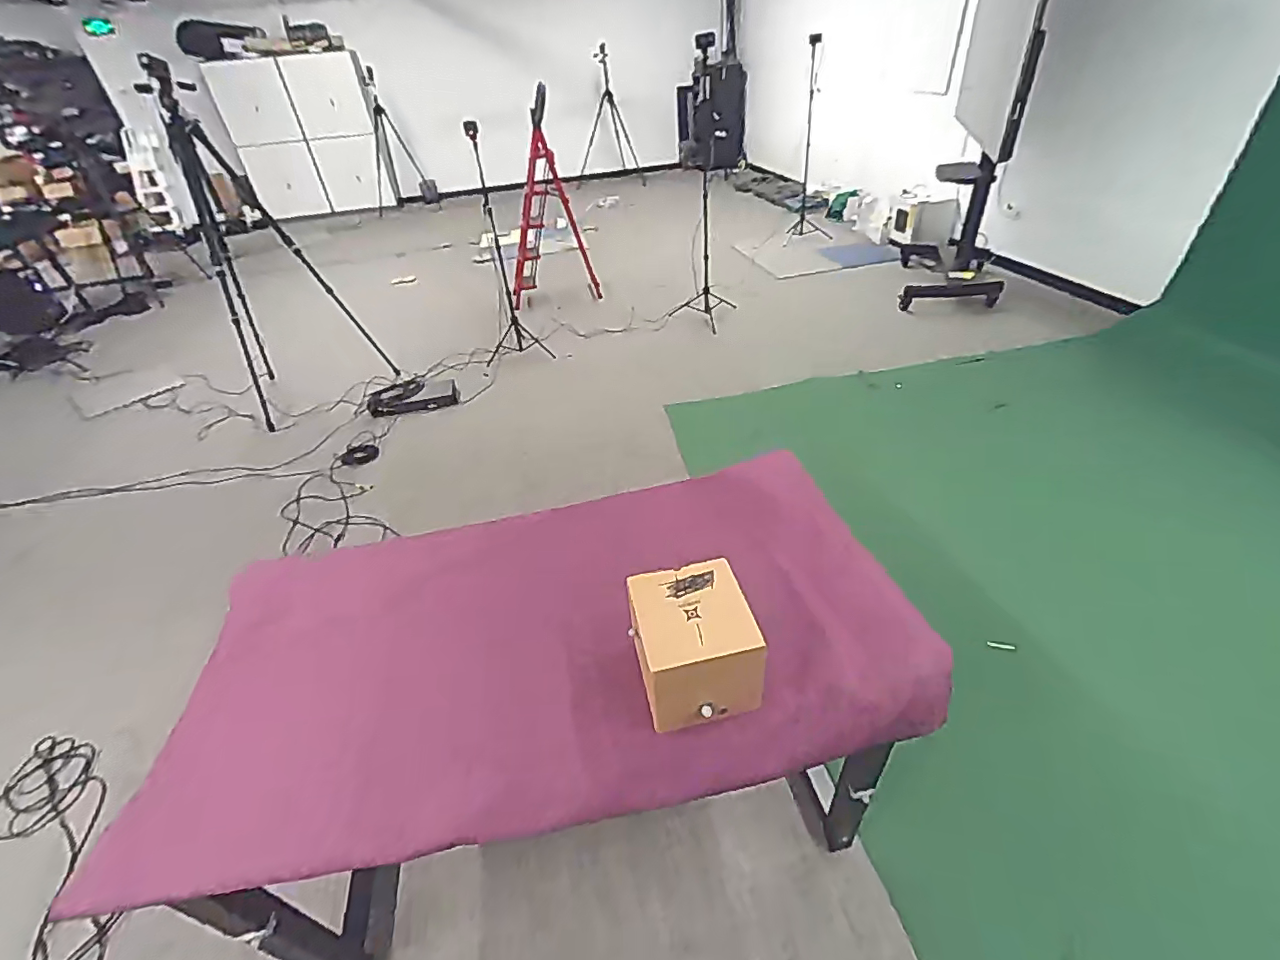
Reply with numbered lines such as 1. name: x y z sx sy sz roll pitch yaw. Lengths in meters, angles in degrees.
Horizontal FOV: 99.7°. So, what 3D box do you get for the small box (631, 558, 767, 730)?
1. small box: 0.084 0.252 0.842 0.168 0.176 0.179 -11 39 -6
